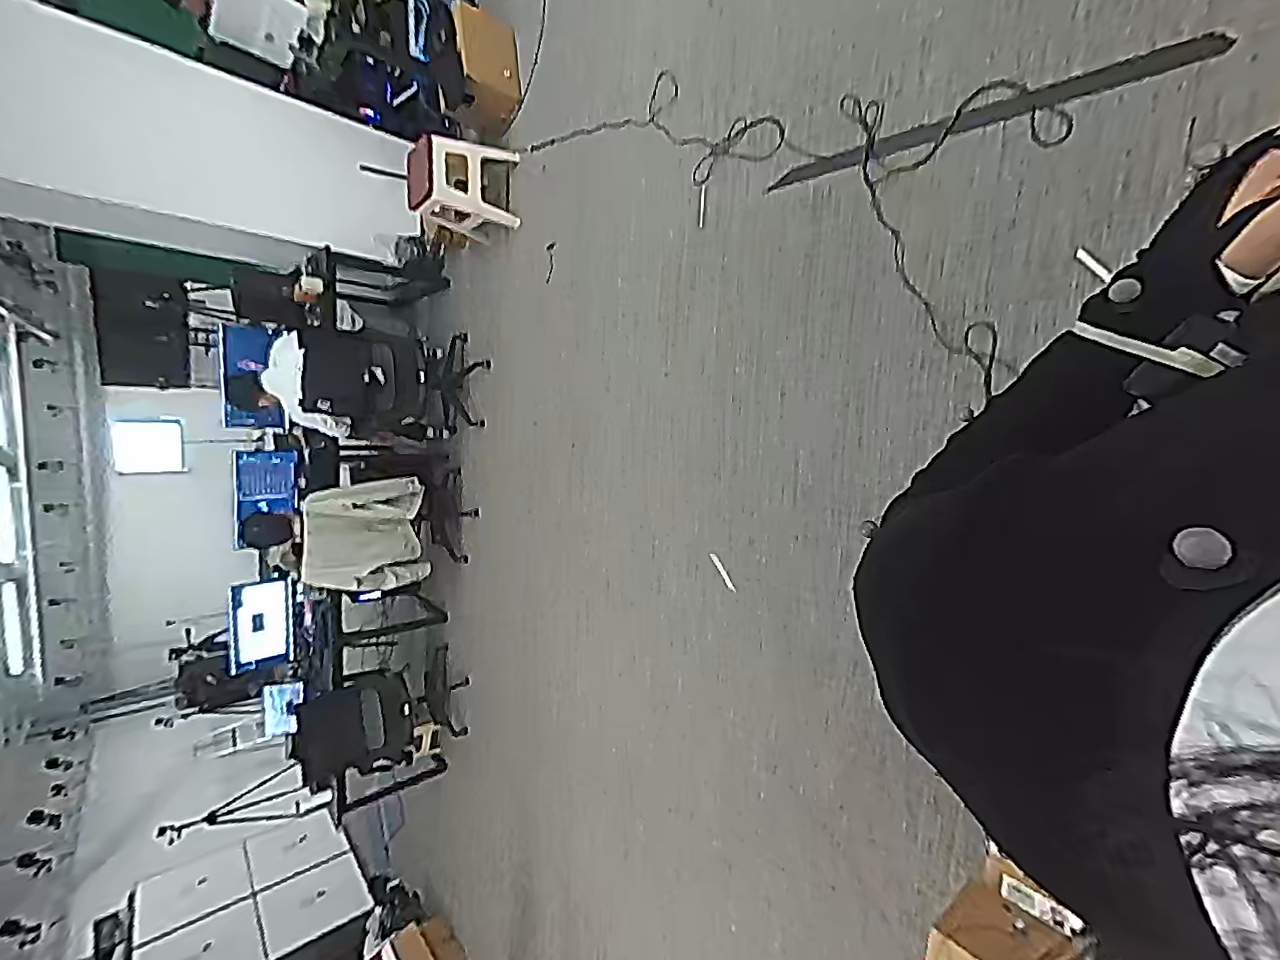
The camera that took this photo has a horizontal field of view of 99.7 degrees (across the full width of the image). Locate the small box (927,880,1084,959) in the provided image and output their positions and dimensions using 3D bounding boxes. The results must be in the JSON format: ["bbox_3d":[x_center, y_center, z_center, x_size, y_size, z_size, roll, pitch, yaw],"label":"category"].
[{"bbox_3d":[0.566,0.793,0.846,0.168,0.176,0.179,14,100,49],"label":"small box"}]
